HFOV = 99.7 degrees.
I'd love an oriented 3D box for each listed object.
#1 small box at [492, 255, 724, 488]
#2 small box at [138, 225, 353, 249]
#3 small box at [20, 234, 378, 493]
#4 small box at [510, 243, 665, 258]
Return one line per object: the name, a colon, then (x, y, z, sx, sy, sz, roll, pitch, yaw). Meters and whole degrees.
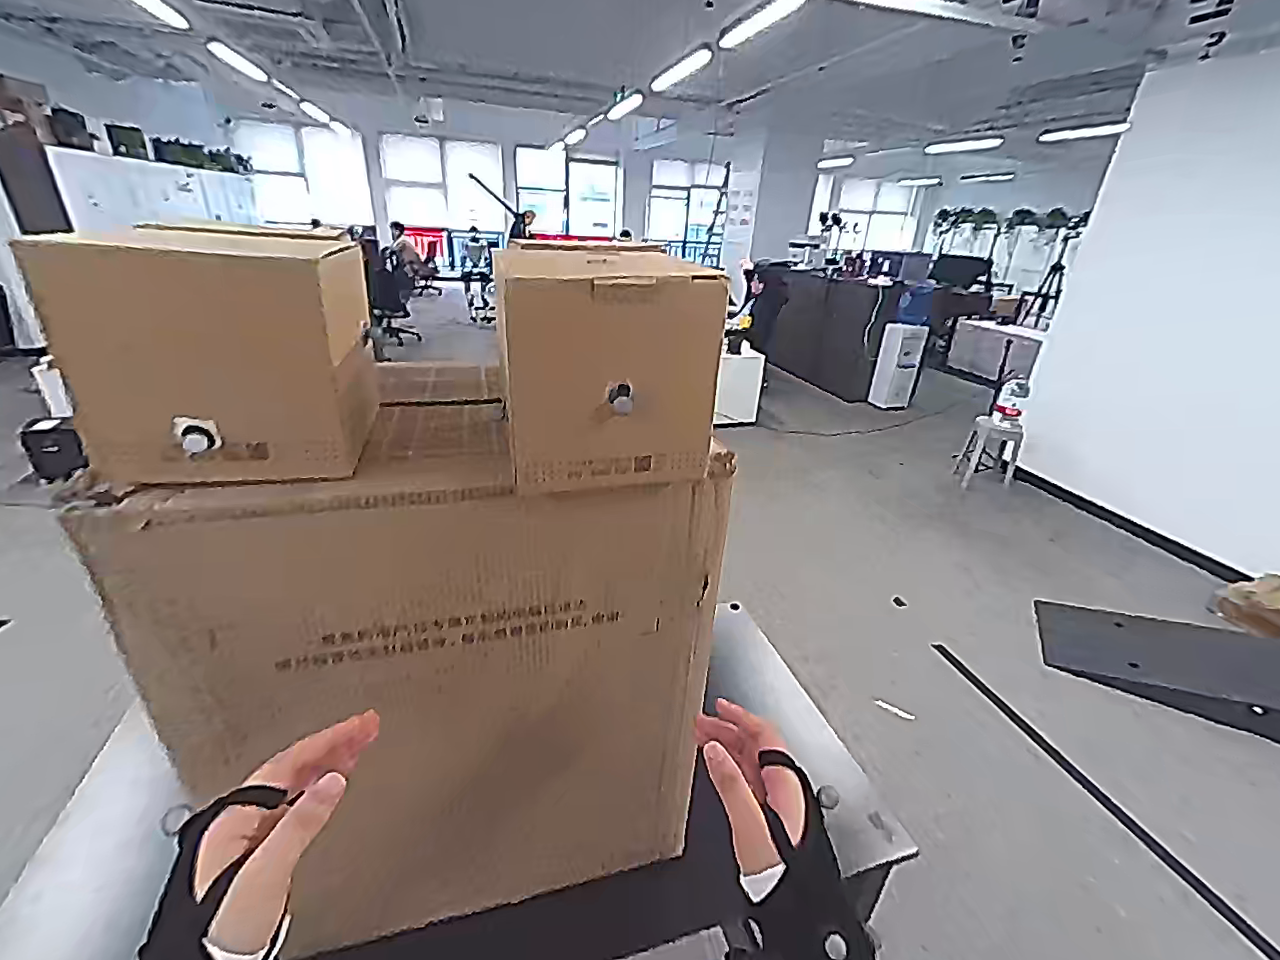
small box: (-0.039, -0.101, 0.486, 0.168, 0.176, 0.179, -5, 29, -15)
small box: (-0.415, -0.189, 0.616, 0.168, 0.176, 0.179, -6, 26, -22)
small box: (-0.324, -0.102, 0.449, 0.168, 0.176, 0.179, -4, 27, -17)
small box: (-0.075, -0.208, 0.695, 0.168, 0.176, 0.179, -6, 25, -16)
